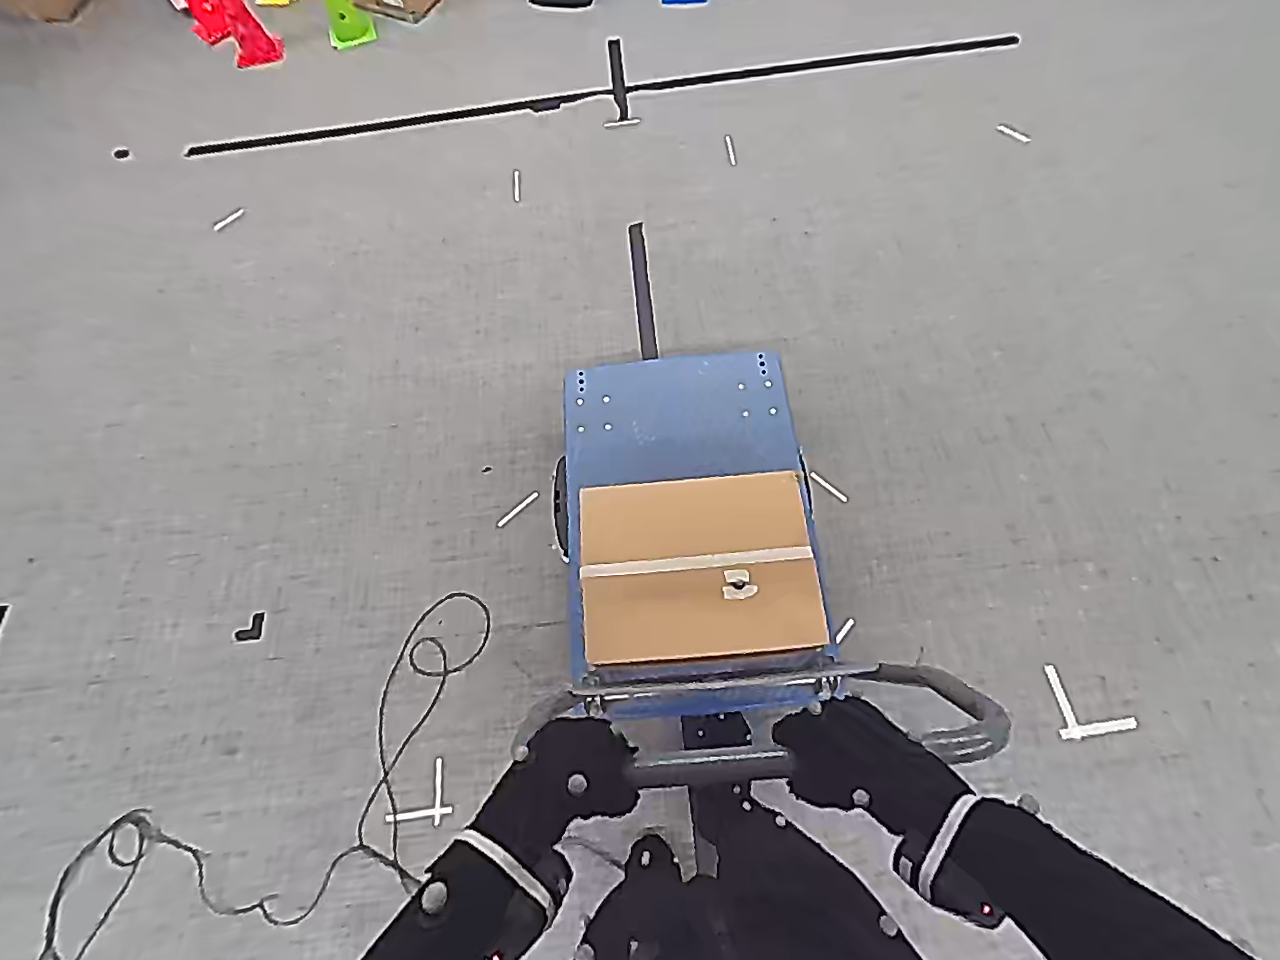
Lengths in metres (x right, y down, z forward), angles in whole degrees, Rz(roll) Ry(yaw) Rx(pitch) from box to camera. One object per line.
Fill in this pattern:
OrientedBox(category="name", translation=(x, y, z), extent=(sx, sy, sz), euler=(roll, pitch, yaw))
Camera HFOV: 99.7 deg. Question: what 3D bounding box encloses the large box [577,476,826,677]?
OrientedBox(category="large box", translation=(0.099, 0.207, 1.074), extent=(0.408, 0.320, 0.320), euler=(-5, 69, 0))
